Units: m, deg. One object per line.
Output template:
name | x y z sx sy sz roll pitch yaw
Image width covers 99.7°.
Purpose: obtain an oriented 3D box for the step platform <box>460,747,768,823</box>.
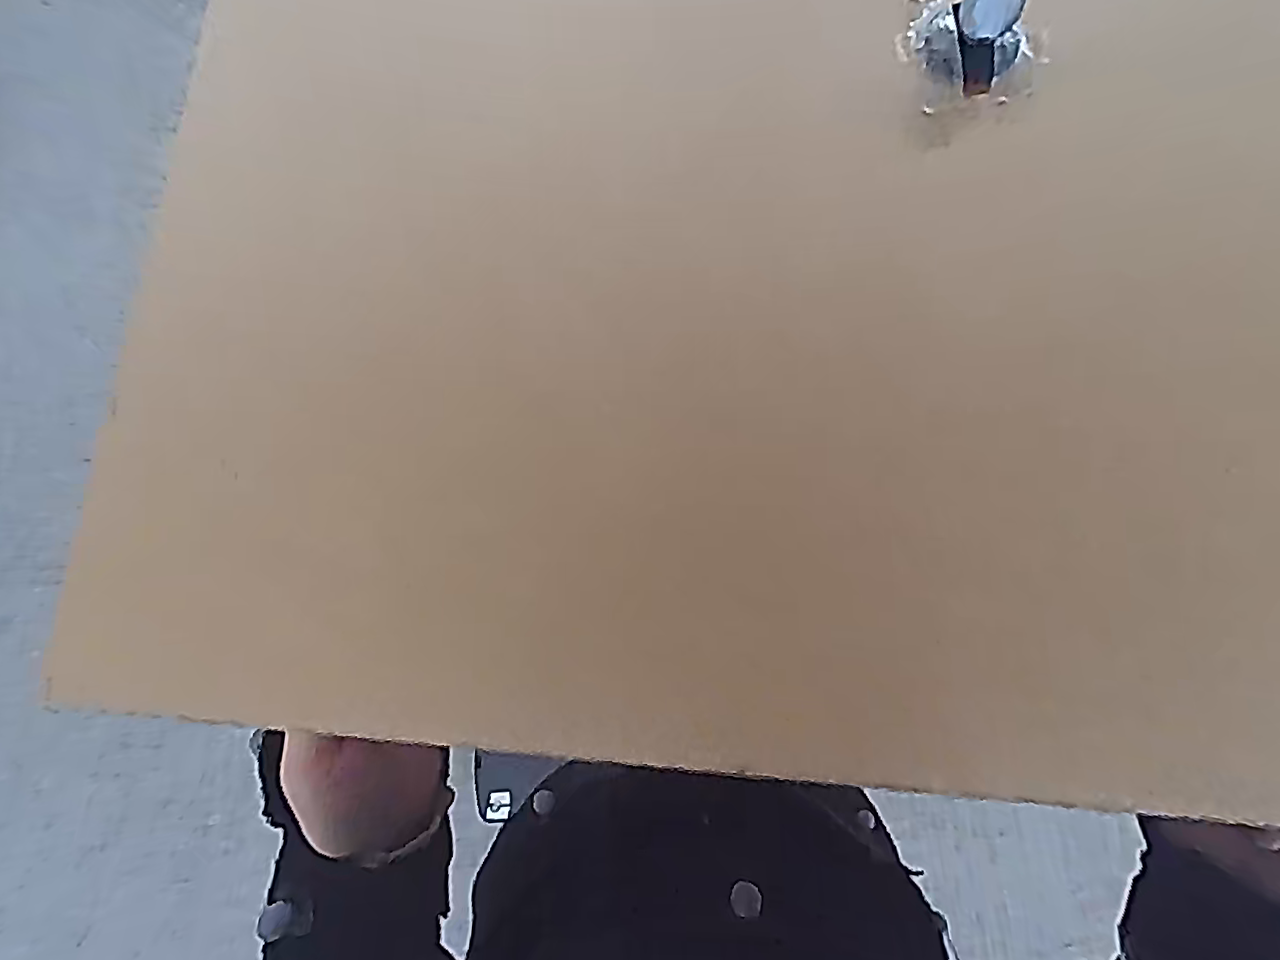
step platform | -0.054 0.600 1.243 0.684 0.204 0.286 2 75 0
